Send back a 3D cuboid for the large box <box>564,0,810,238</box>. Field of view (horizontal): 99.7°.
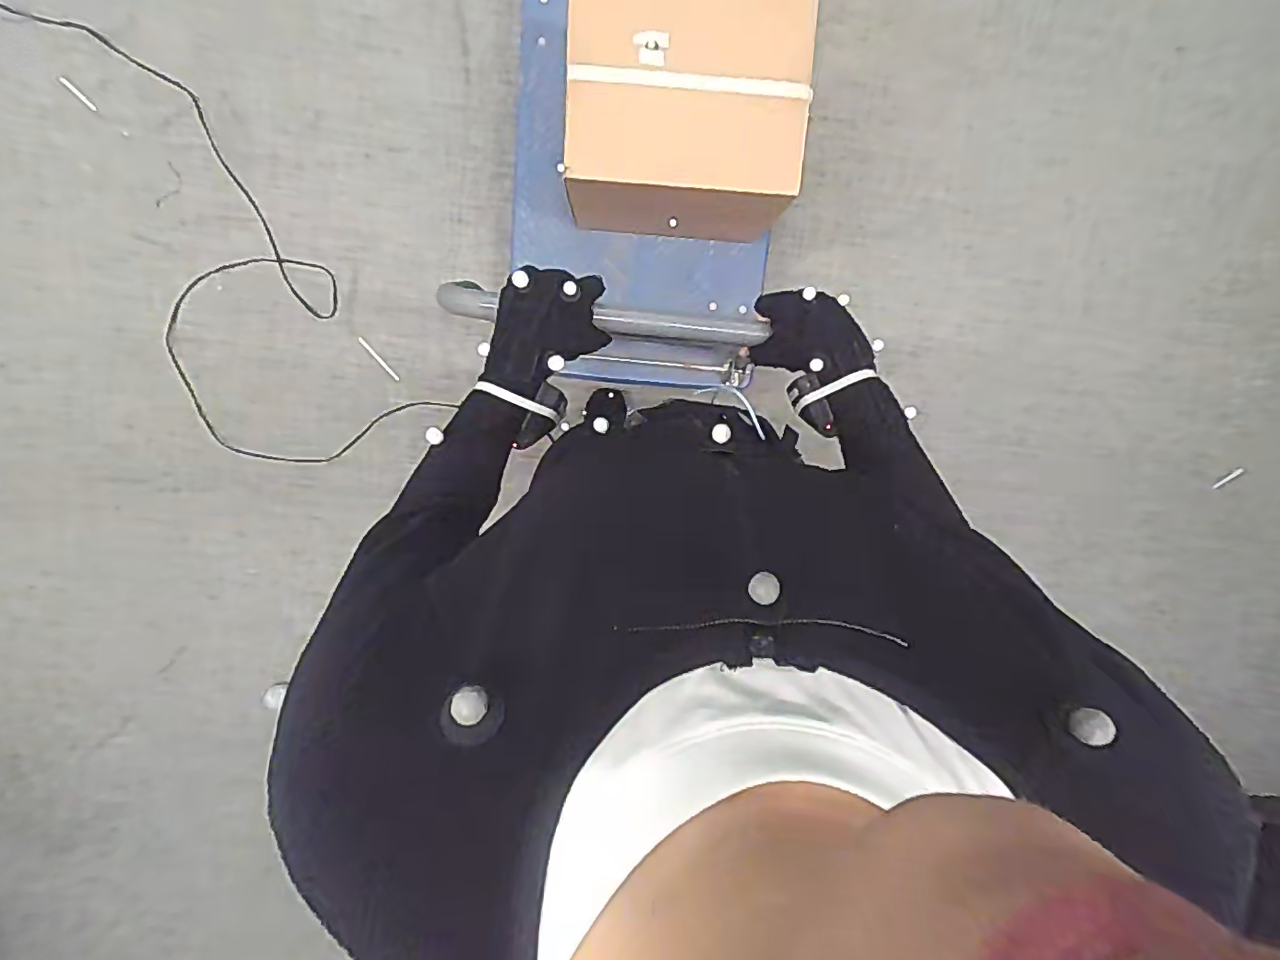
[{"bbox_3d":[0.075,-0.677,1.050,0.408,0.320,0.320,3,99,-2],"label":"large box"}]
